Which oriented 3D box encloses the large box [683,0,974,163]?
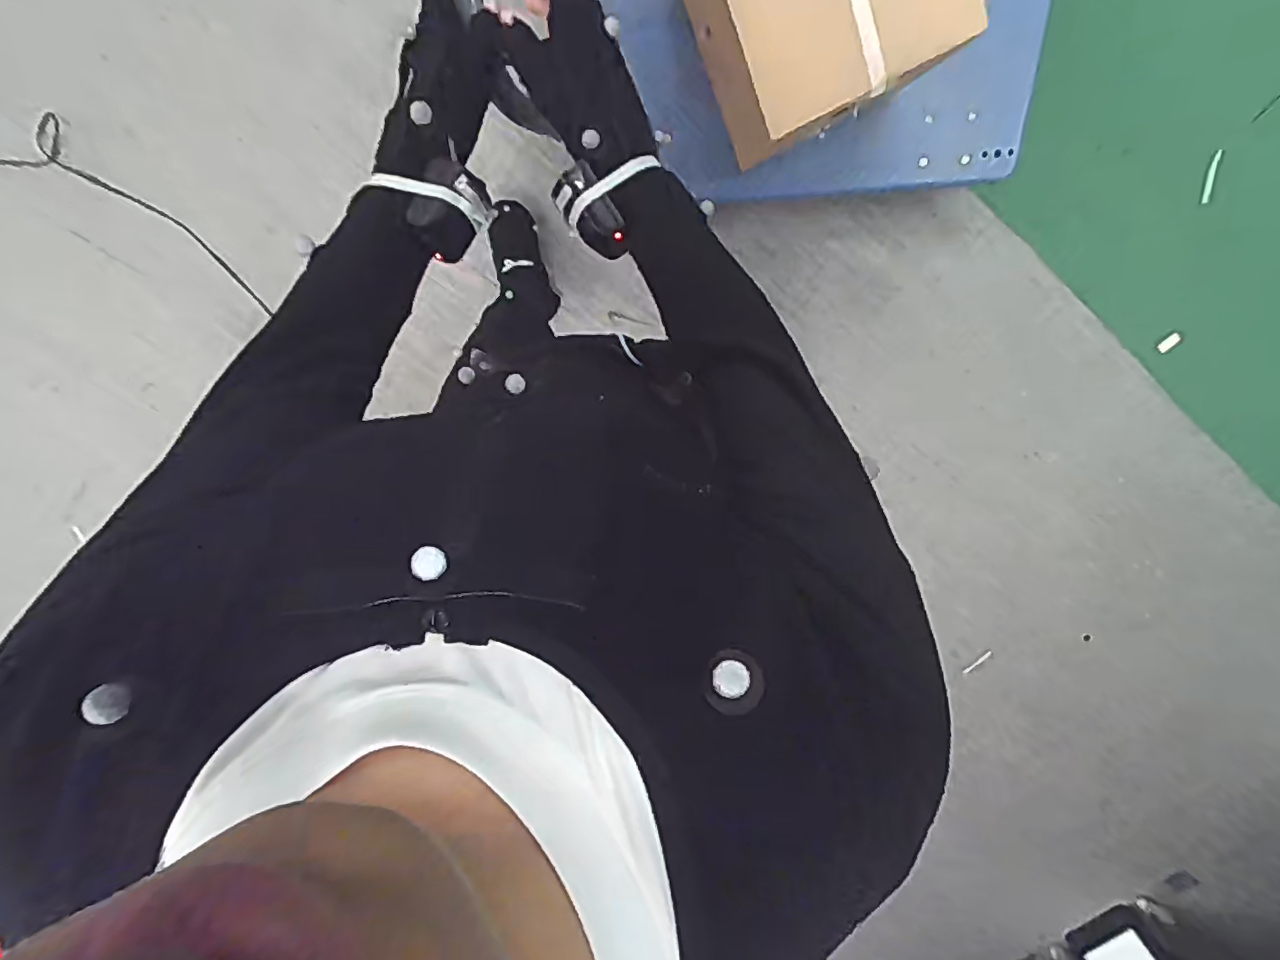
[{"bbox_3d":[0.243,-0.789,0.838,0.320,0.320,0.408,-22,109,11],"label":"large box"}]
